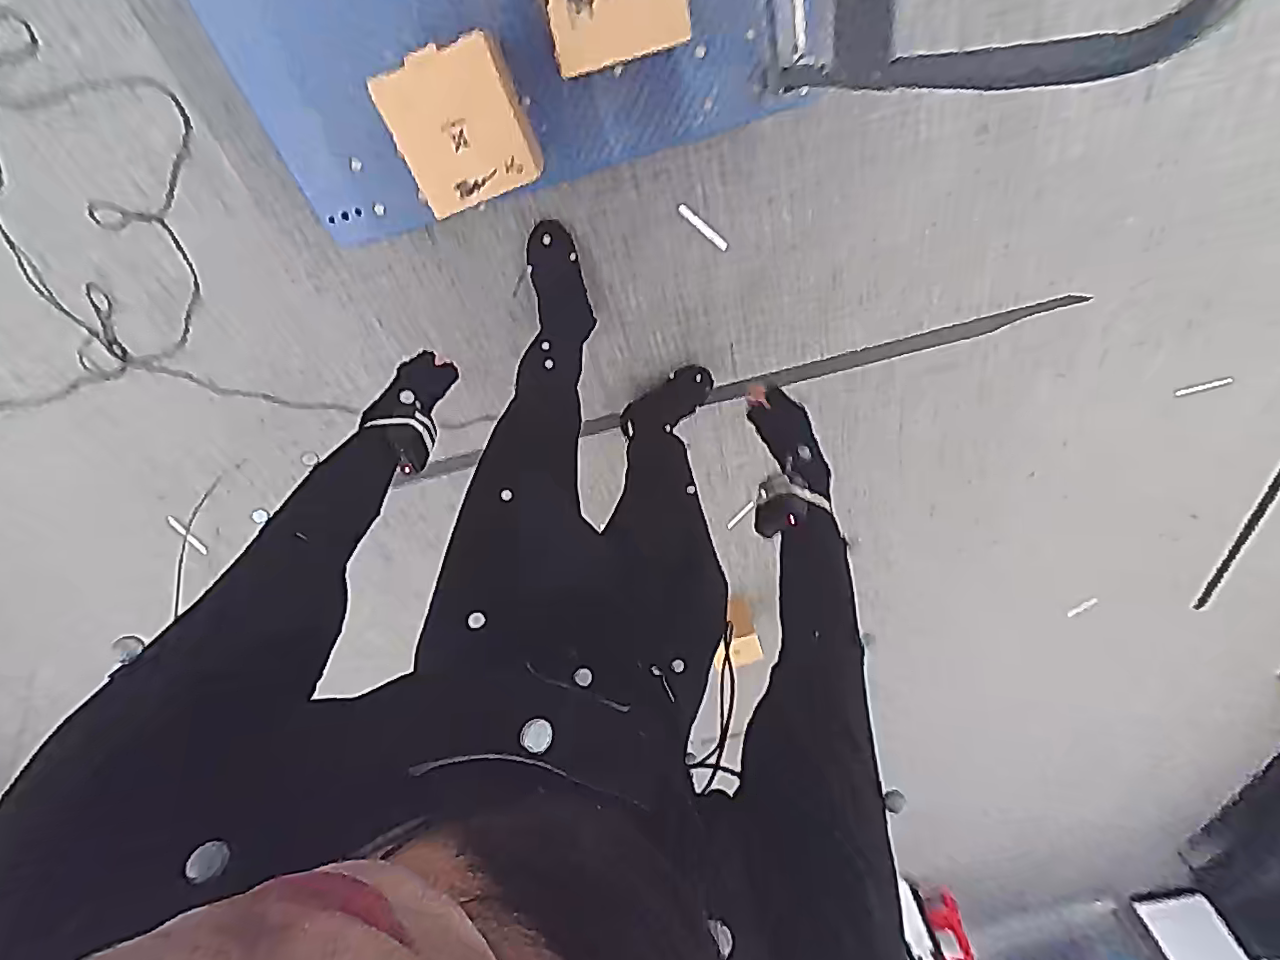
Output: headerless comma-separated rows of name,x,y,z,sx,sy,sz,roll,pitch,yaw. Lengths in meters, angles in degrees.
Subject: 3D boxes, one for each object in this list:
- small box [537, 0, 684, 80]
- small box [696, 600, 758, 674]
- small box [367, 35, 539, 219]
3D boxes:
small box,-0.049,-0.656,0.727,0.179,0.176,0.168,-14,127,3
small box,0.305,0.558,1.930,0.179,0.176,0.168,-18,128,6
small box,-0.261,-0.519,0.804,0.168,0.176,0.179,-18,126,7
